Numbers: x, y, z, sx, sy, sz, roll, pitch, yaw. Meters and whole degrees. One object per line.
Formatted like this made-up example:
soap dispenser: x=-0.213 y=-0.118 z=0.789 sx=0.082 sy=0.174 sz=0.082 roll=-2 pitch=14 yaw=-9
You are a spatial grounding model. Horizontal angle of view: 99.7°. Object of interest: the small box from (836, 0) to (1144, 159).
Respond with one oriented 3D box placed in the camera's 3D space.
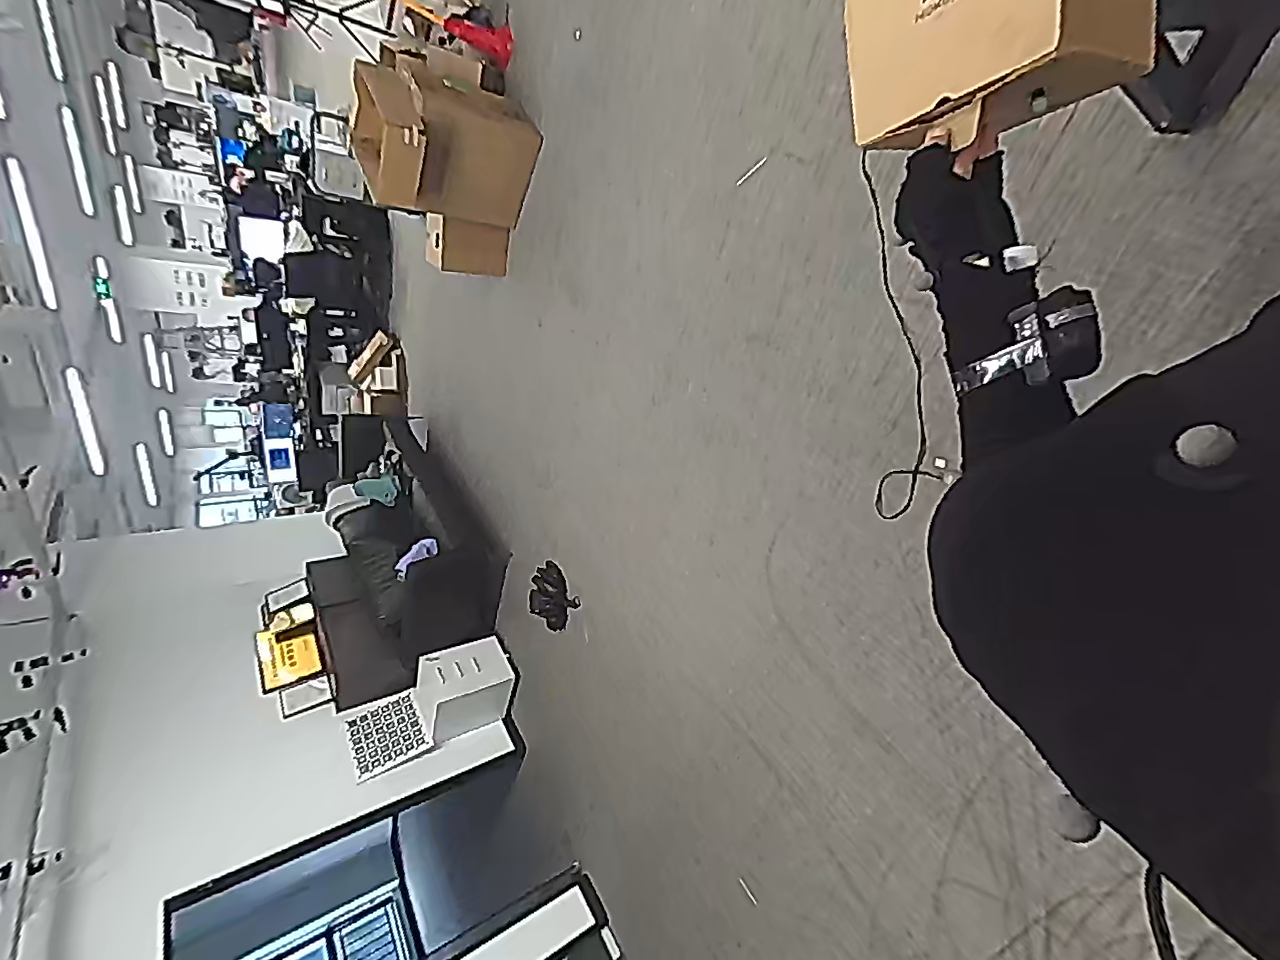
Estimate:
small box: x=0.293 y=-0.398 z=0.458 sx=0.168 sy=0.176 sz=0.179 roll=10 pitch=114 yaw=57
